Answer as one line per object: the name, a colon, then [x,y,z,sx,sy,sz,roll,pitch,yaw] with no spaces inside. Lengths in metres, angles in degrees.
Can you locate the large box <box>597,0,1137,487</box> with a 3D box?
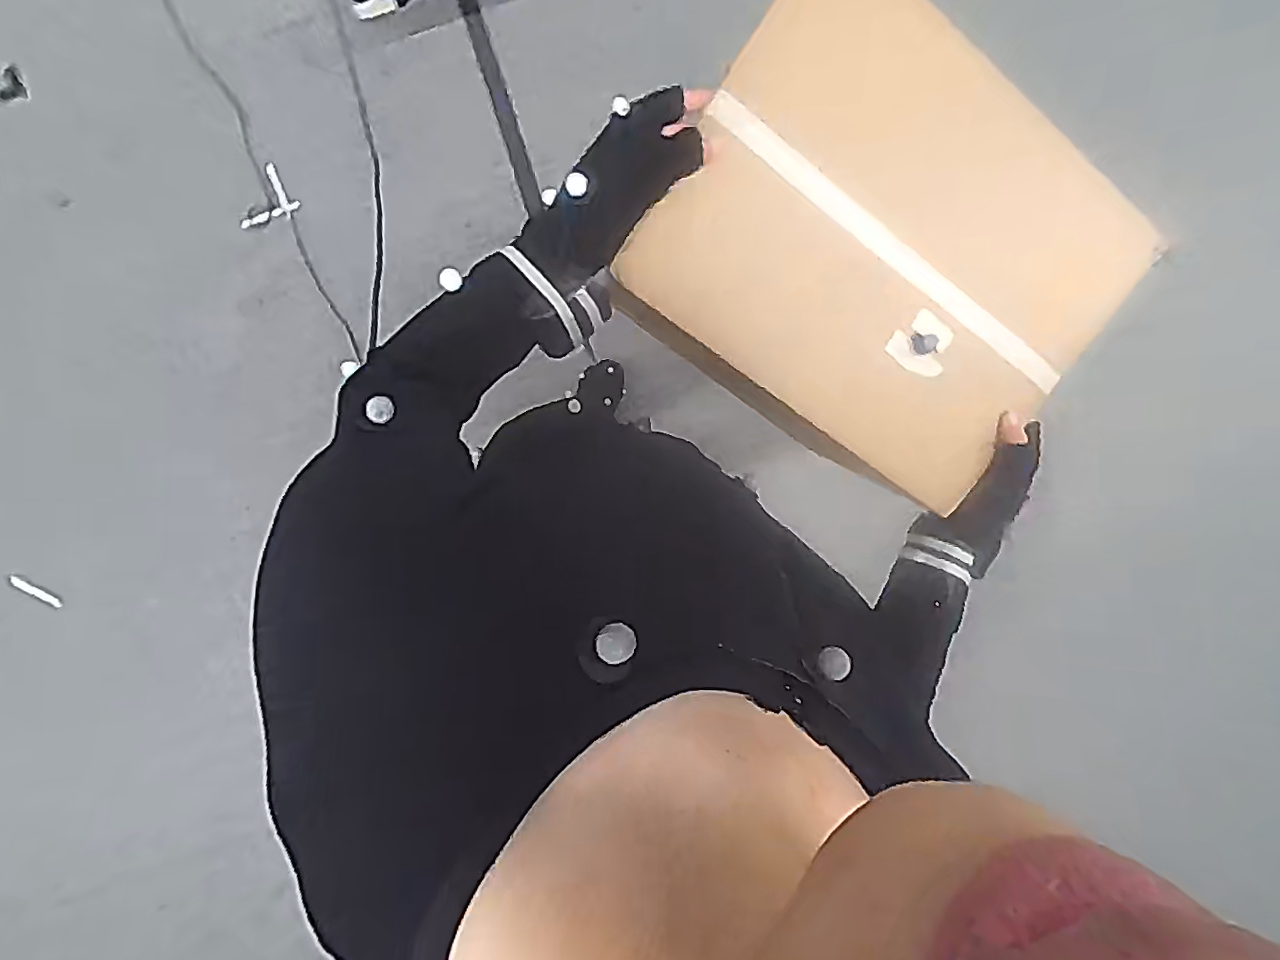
large box: [0.197,-0.249,0.622,0.408,0.320,0.320,31,100,-12]
